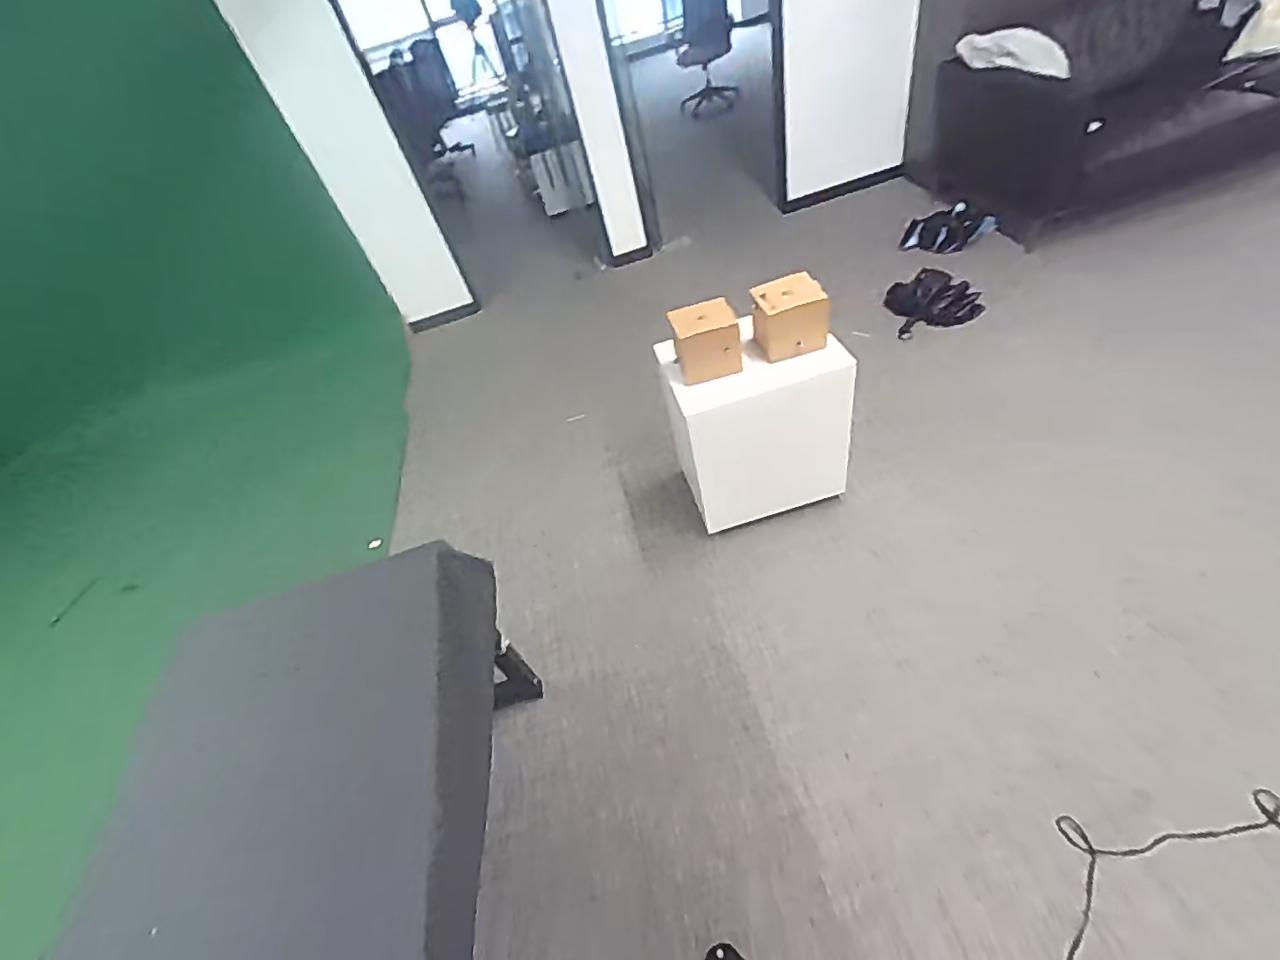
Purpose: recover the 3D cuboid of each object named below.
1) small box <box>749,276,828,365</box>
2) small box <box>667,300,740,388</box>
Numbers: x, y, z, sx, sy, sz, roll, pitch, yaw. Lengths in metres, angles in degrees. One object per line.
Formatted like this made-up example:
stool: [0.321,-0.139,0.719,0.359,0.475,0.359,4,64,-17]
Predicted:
small box: [0.431,-0.465,1.586,0.179,0.176,0.168,-16,45,0]
small box: [0.190,-0.399,1.593,0.179,0.176,0.168,-17,44,0]
